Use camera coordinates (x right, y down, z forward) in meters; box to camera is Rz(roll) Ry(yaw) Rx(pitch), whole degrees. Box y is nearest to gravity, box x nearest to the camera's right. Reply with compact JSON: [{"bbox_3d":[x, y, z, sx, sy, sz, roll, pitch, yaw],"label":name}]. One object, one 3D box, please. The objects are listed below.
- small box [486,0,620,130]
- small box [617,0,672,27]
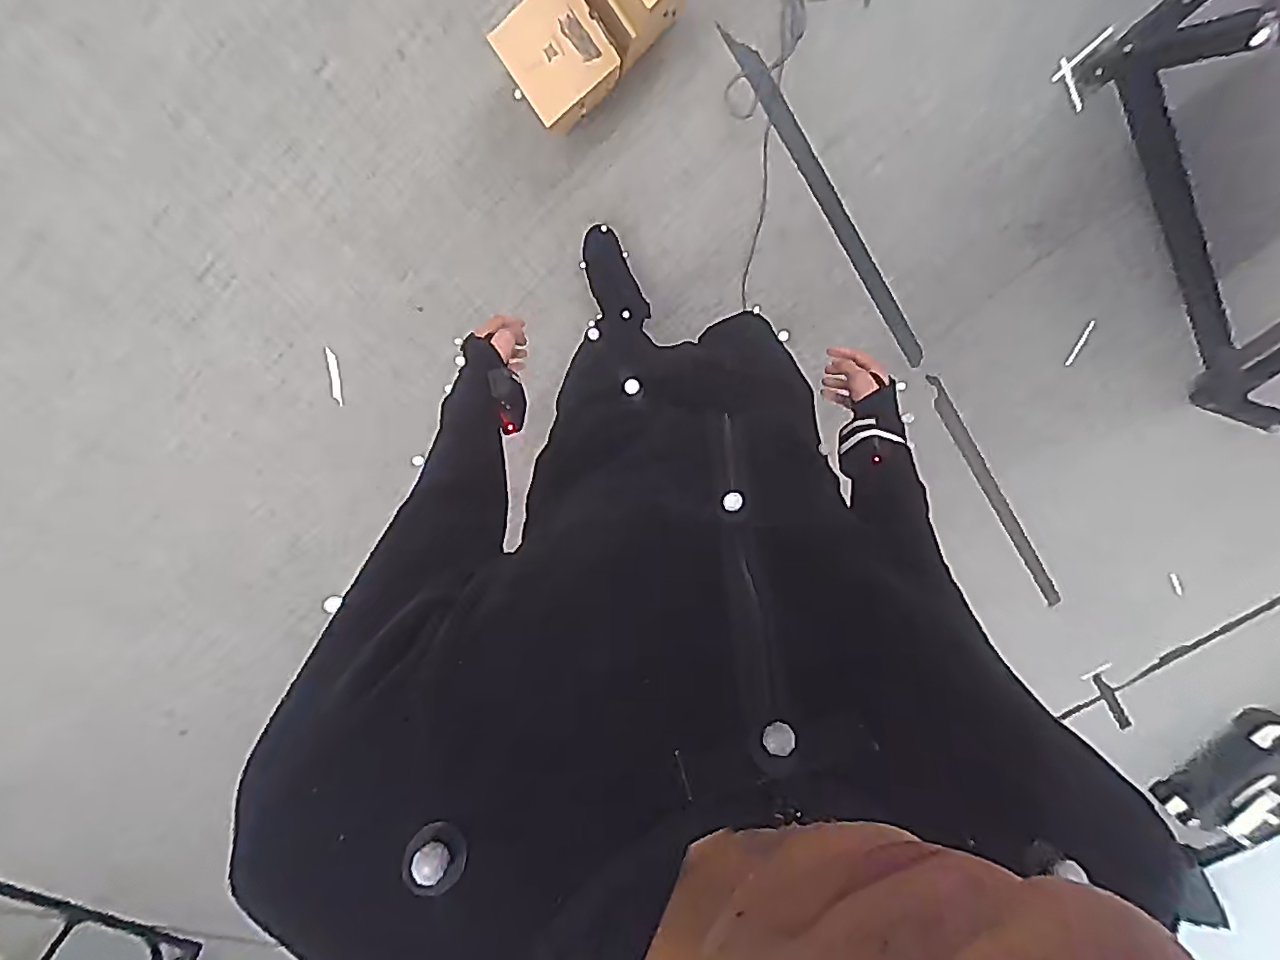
[{"bbox_3d":[-0.155,-0.791,1.009,0.179,0.176,0.168,-33,116,15],"label":"small box"},{"bbox_3d":[0.008,-0.837,0.808,0.168,0.176,0.179,-39,114,17],"label":"small box"}]
